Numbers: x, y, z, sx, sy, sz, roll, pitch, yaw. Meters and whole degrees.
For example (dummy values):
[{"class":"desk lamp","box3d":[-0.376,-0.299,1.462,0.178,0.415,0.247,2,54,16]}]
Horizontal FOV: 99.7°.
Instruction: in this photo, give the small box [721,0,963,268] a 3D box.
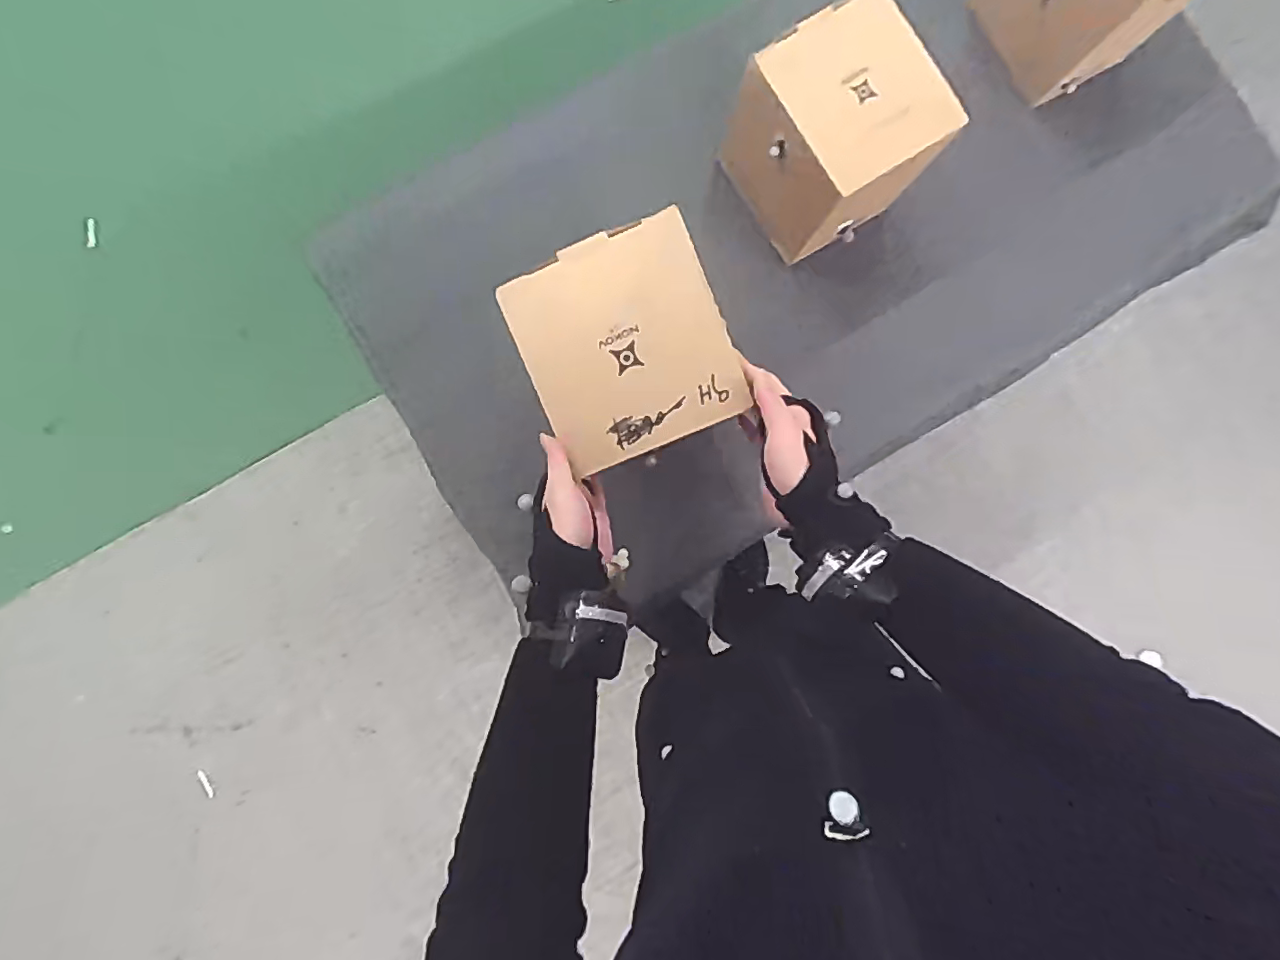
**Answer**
[{"class":"small box","box3d":[0.217,-0.390,0.635,0.168,0.176,0.179,-33,91,-5]}]

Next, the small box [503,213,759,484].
[{"class":"small box","box3d":[-0.001,-0.111,0.518,0.168,0.176,0.179,-22,94,9]}]

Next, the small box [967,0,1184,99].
[{"class":"small box","box3d":[0.564,-0.625,0.676,0.168,0.176,0.179,-30,89,-6]}]
